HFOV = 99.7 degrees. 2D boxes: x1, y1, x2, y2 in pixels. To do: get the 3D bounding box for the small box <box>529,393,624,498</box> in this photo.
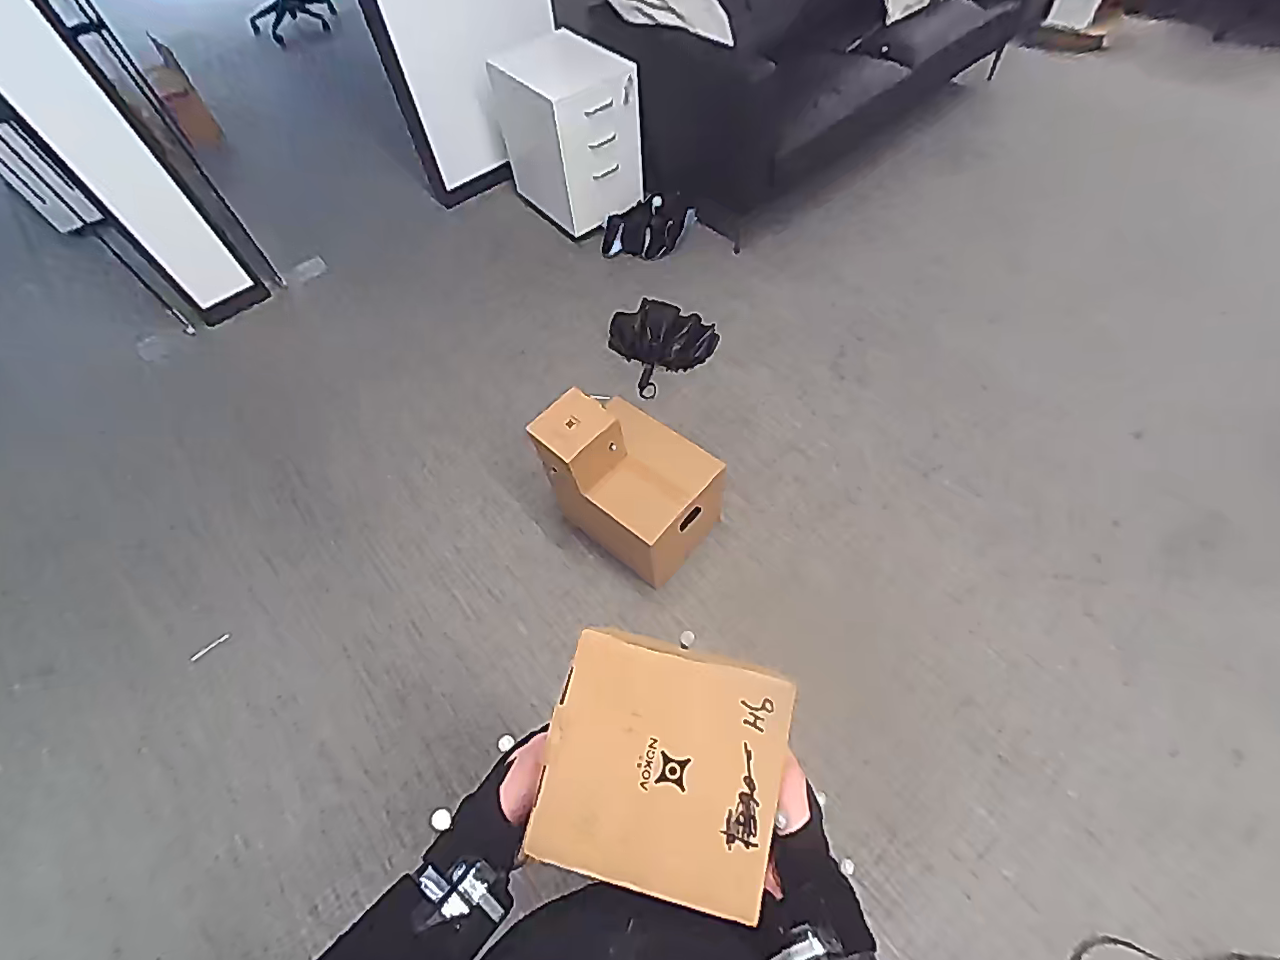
[{"bbox_3d":[-0.156,-0.087,1.415,0.168,0.176,0.179,37,72,25],"label":"small box"}]
